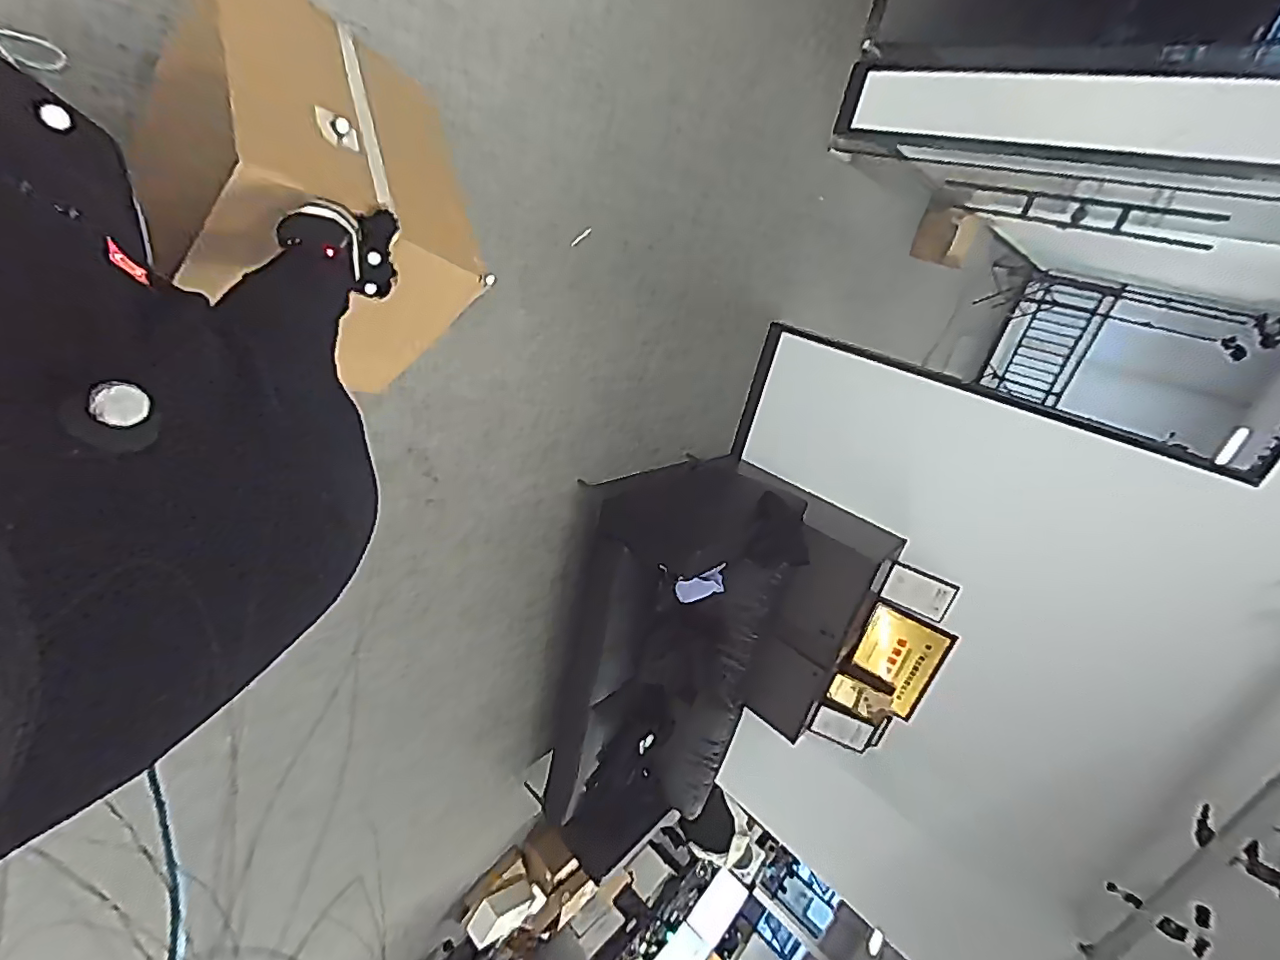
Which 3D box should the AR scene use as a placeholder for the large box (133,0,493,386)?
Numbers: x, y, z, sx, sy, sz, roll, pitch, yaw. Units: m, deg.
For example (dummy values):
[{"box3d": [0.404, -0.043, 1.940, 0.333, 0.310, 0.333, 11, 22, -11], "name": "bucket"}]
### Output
[{"box3d": [-0.475, -0.409, 0.783, 0.320, 0.408, 0.320, -30, 160, 30], "name": "large box"}]
